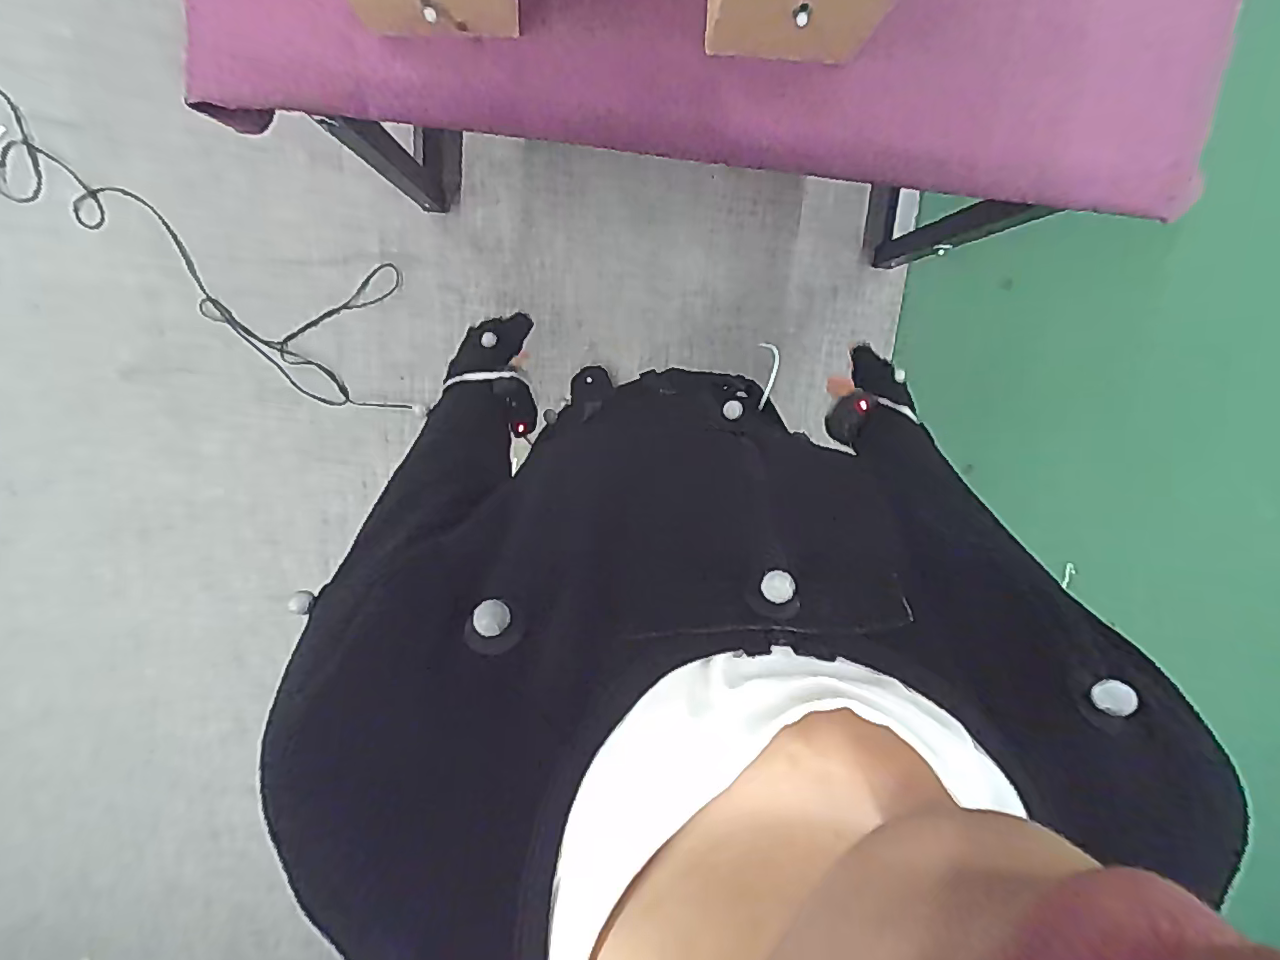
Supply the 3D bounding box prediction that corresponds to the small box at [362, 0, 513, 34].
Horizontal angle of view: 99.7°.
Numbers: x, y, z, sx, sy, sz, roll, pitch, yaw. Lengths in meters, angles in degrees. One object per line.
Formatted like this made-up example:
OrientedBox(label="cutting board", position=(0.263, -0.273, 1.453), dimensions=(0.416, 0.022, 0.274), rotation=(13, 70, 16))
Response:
OrientedBox(label="small box", position=(-0.218, -0.578, 0.515), dimensions=(0.168, 0.176, 0.179), rotation=(-1, 102, -4))
